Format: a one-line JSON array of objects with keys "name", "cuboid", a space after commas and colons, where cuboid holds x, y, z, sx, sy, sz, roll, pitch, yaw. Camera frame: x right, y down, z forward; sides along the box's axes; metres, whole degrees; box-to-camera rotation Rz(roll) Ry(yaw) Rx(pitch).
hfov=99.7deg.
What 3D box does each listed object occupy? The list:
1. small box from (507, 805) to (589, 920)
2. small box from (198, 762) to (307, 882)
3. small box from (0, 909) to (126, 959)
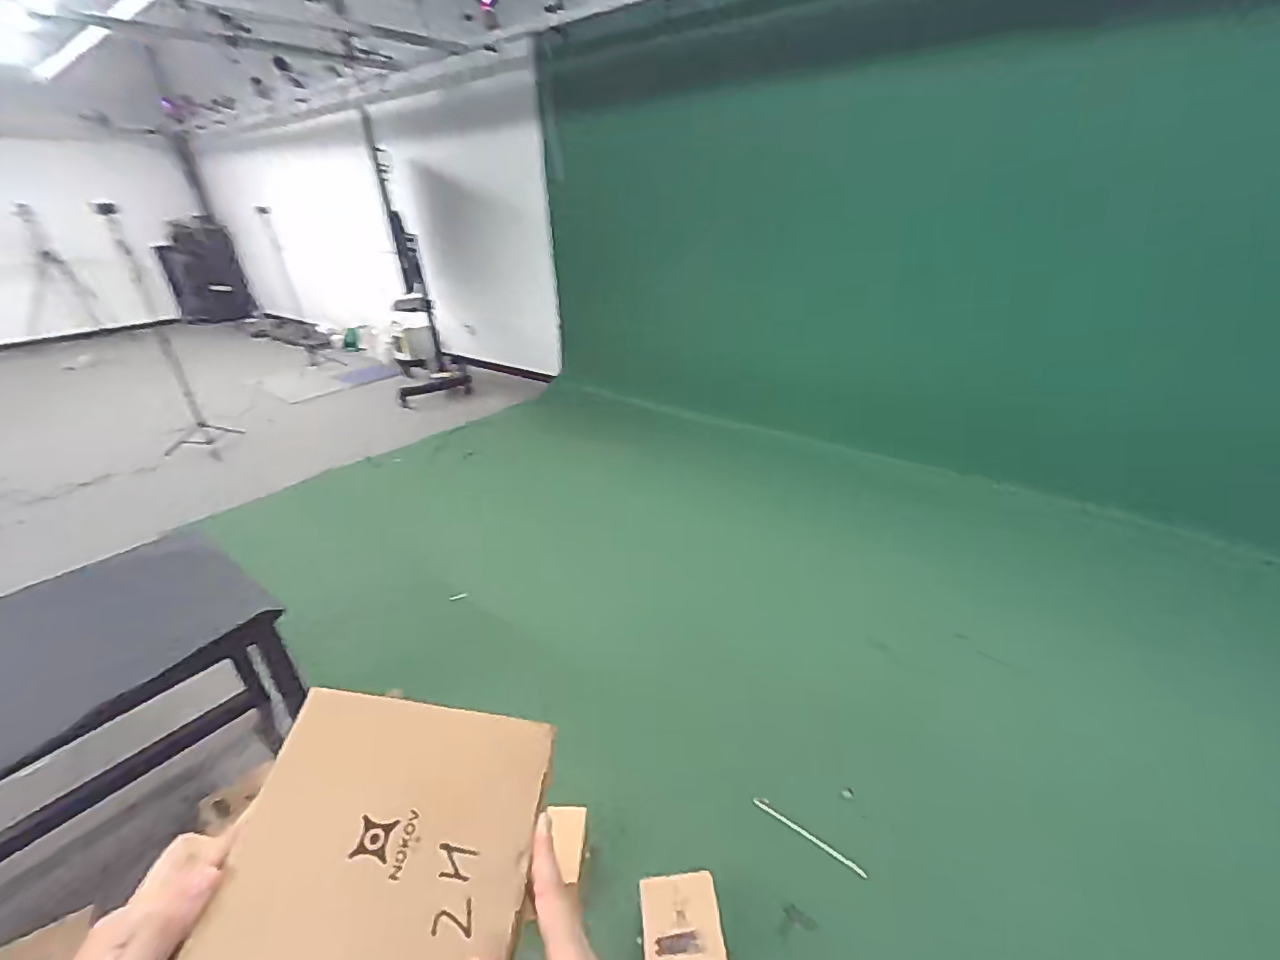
[{"name": "small box", "cuboid": [-0.219, 0.942, 1.337, 0.168, 0.176, 0.179, -1, 29, 3]}, {"name": "small box", "cuboid": [-1.032, 0.913, 1.447, 0.168, 0.176, 0.179, 23, 36, 38]}, {"name": "small box", "cuboid": [-1.249, 1.082, 1.147, 0.179, 0.176, 0.168, -19, 32, -27]}]
